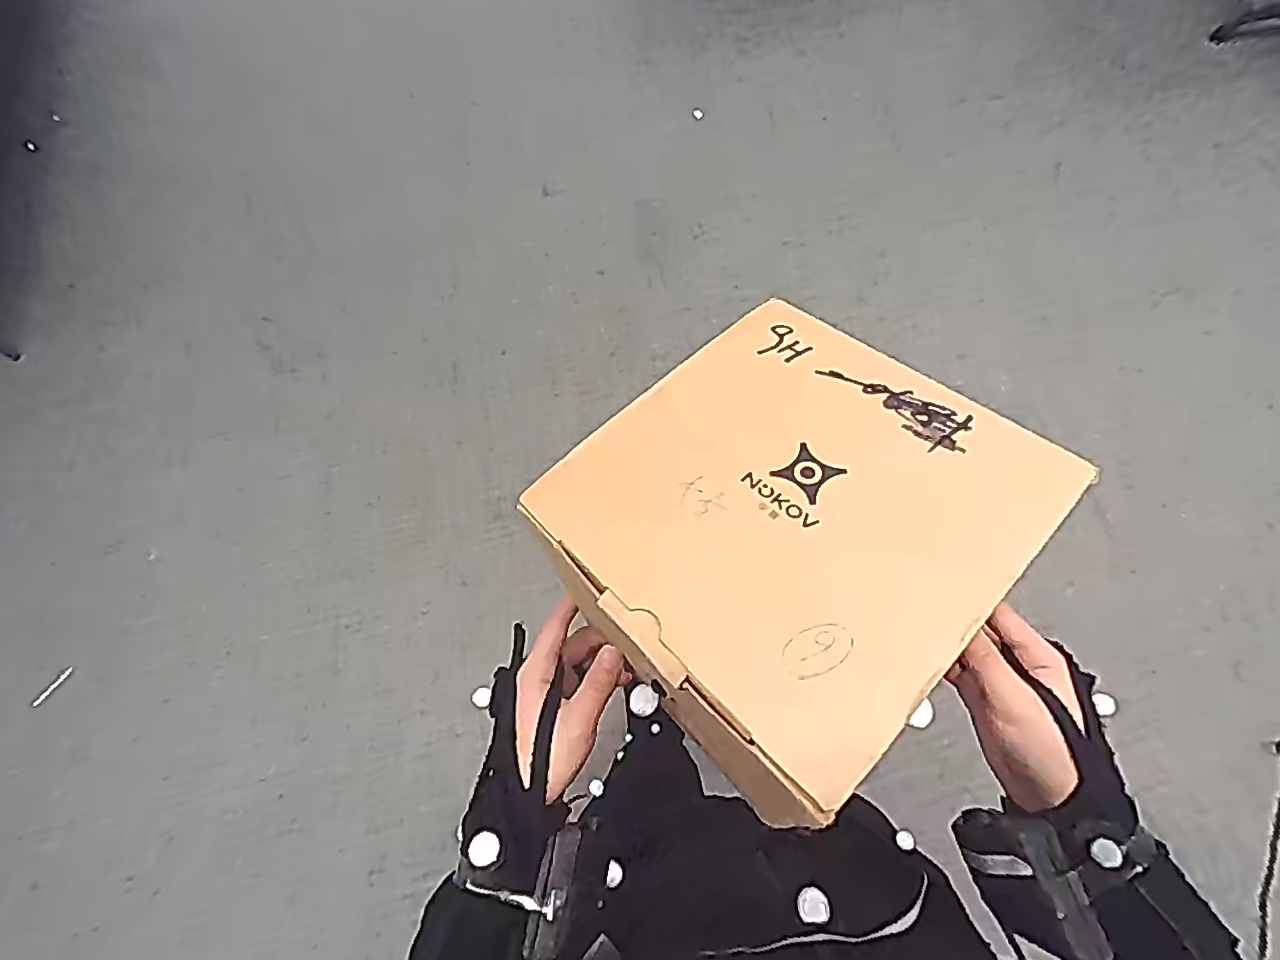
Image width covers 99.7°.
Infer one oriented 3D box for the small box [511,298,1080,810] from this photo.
[{"bbox_3d":[0.068,0.046,0.291,0.179,0.176,0.168,-40,61,-17],"label":"small box"}]
